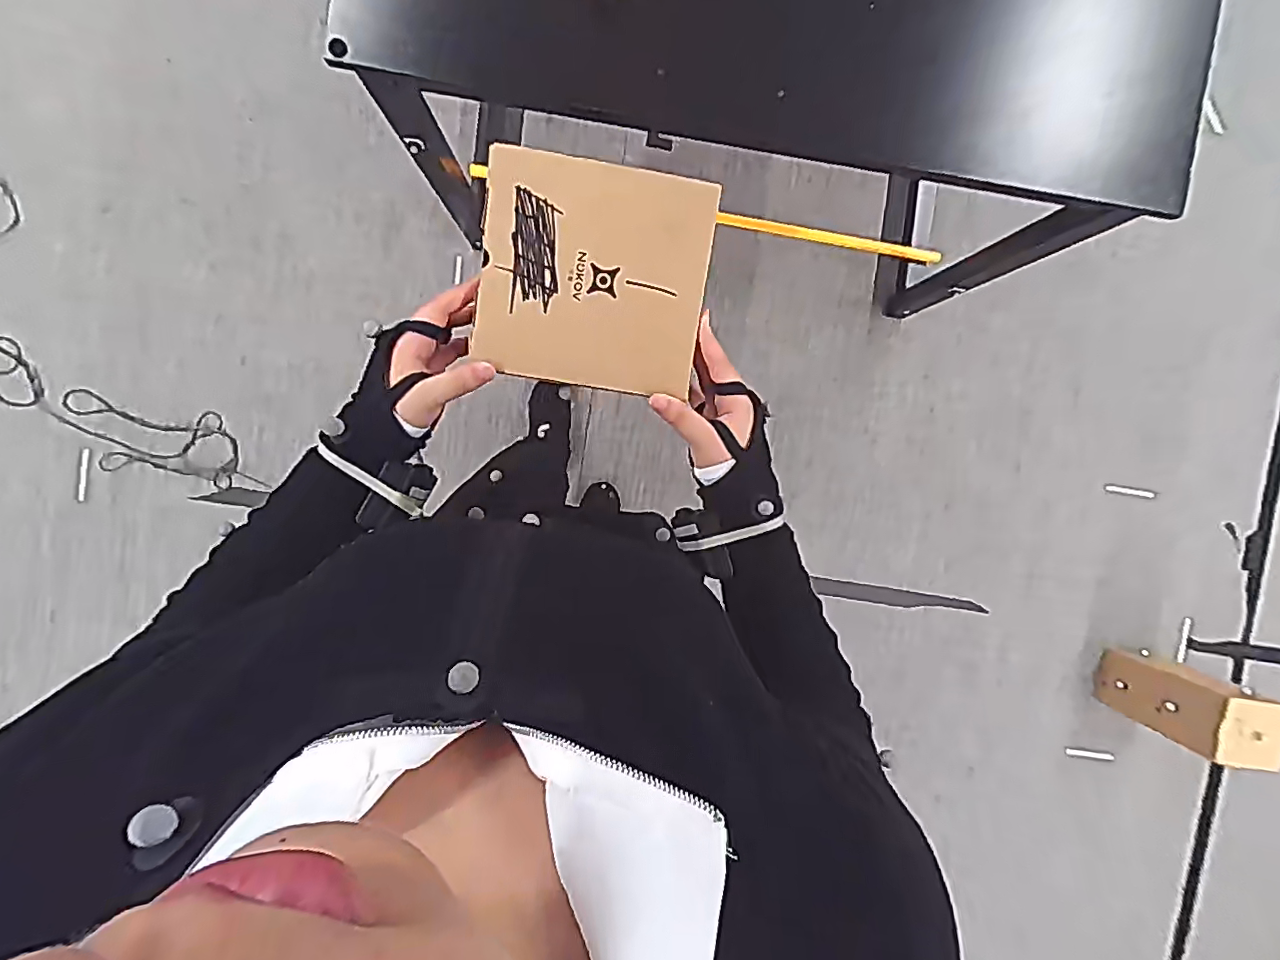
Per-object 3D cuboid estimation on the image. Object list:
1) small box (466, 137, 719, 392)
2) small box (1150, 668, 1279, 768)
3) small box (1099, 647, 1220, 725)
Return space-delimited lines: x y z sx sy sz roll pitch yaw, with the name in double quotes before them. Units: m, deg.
"small box" -0.041 -0.174 0.494 0.179 0.176 0.168 8 99 -4
"small box" 1.468 0.596 1.371 0.179 0.176 0.168 10 93 -3
"small box" 1.466 0.588 1.537 0.179 0.176 0.168 8 93 -3
